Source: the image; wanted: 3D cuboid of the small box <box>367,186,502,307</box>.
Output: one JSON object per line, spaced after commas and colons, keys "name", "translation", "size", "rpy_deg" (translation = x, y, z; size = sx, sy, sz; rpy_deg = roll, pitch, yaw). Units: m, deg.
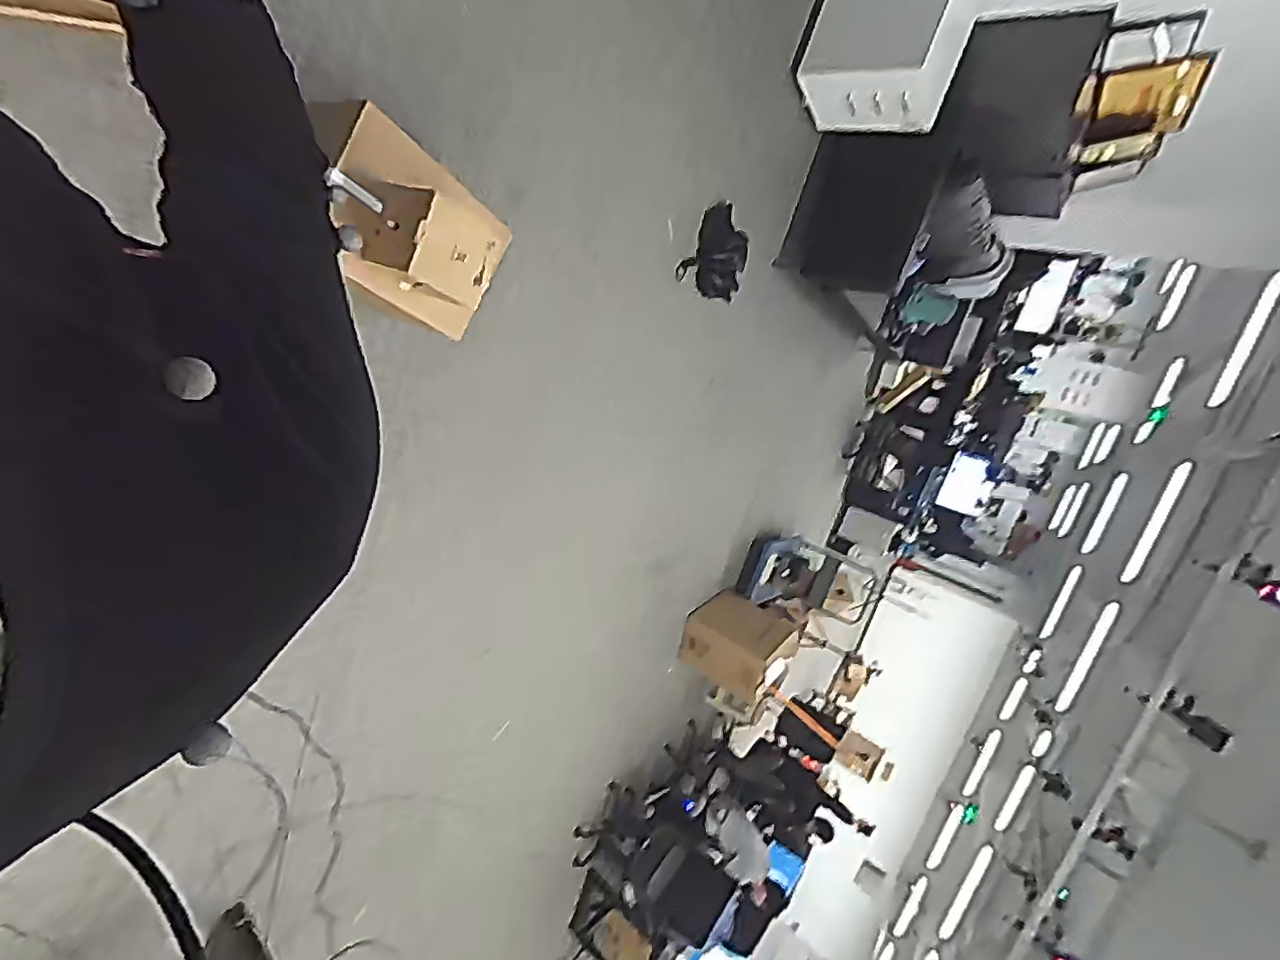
{"name": "small box", "translation": [-0.426, -0.482, 1.118], "size": [0.179, 0.176, 0.168], "rpy_deg": [16, 98, -57]}
